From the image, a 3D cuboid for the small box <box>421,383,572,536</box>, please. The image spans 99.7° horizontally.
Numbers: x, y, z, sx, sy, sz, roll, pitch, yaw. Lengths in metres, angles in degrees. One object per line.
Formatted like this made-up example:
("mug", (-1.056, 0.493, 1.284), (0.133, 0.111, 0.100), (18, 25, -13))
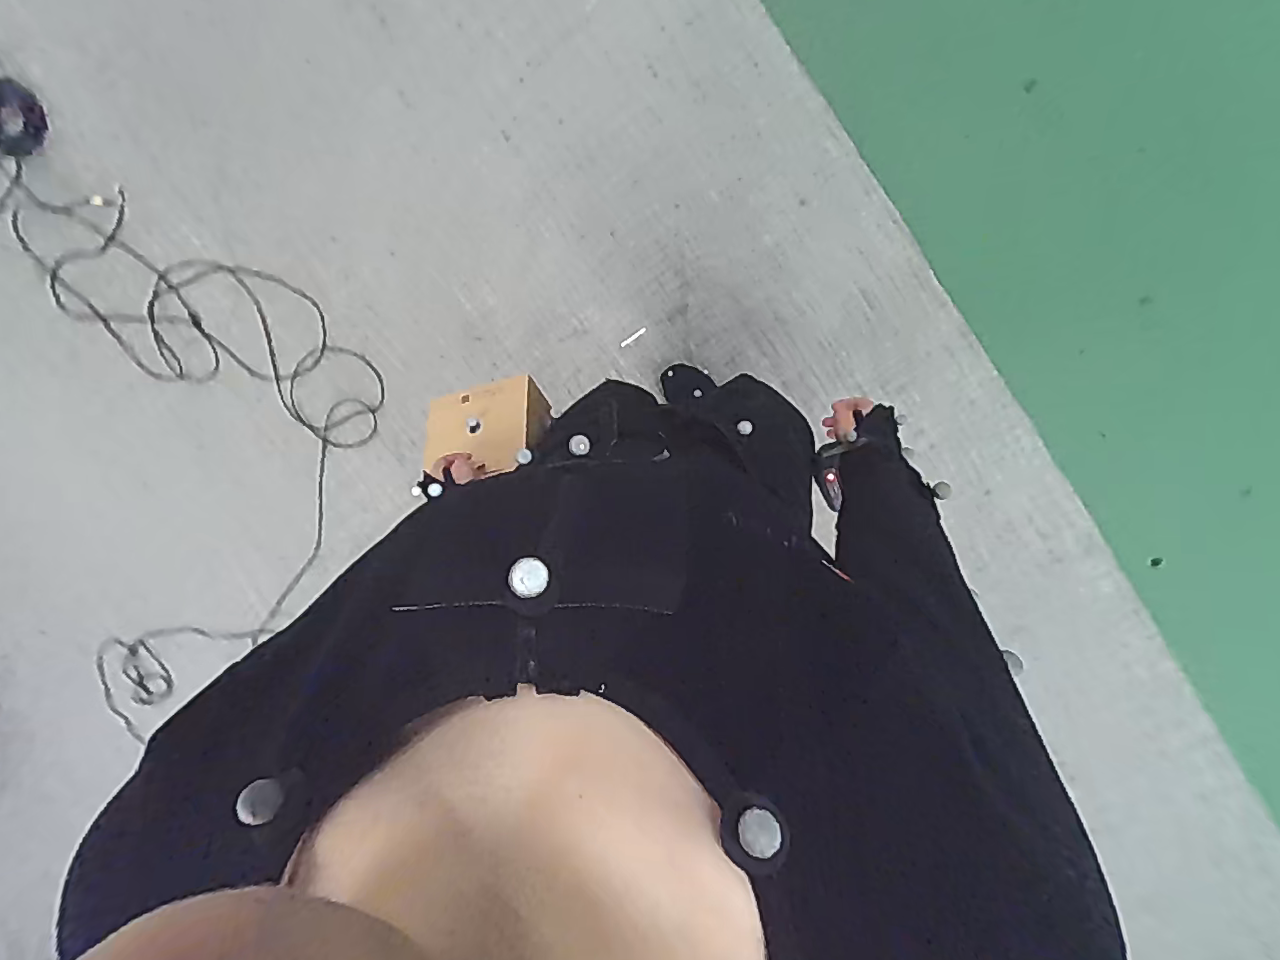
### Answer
("small box", (-0.215, -0.035, 0.853), (0.168, 0.176, 0.179), (-11, 148, 11))
